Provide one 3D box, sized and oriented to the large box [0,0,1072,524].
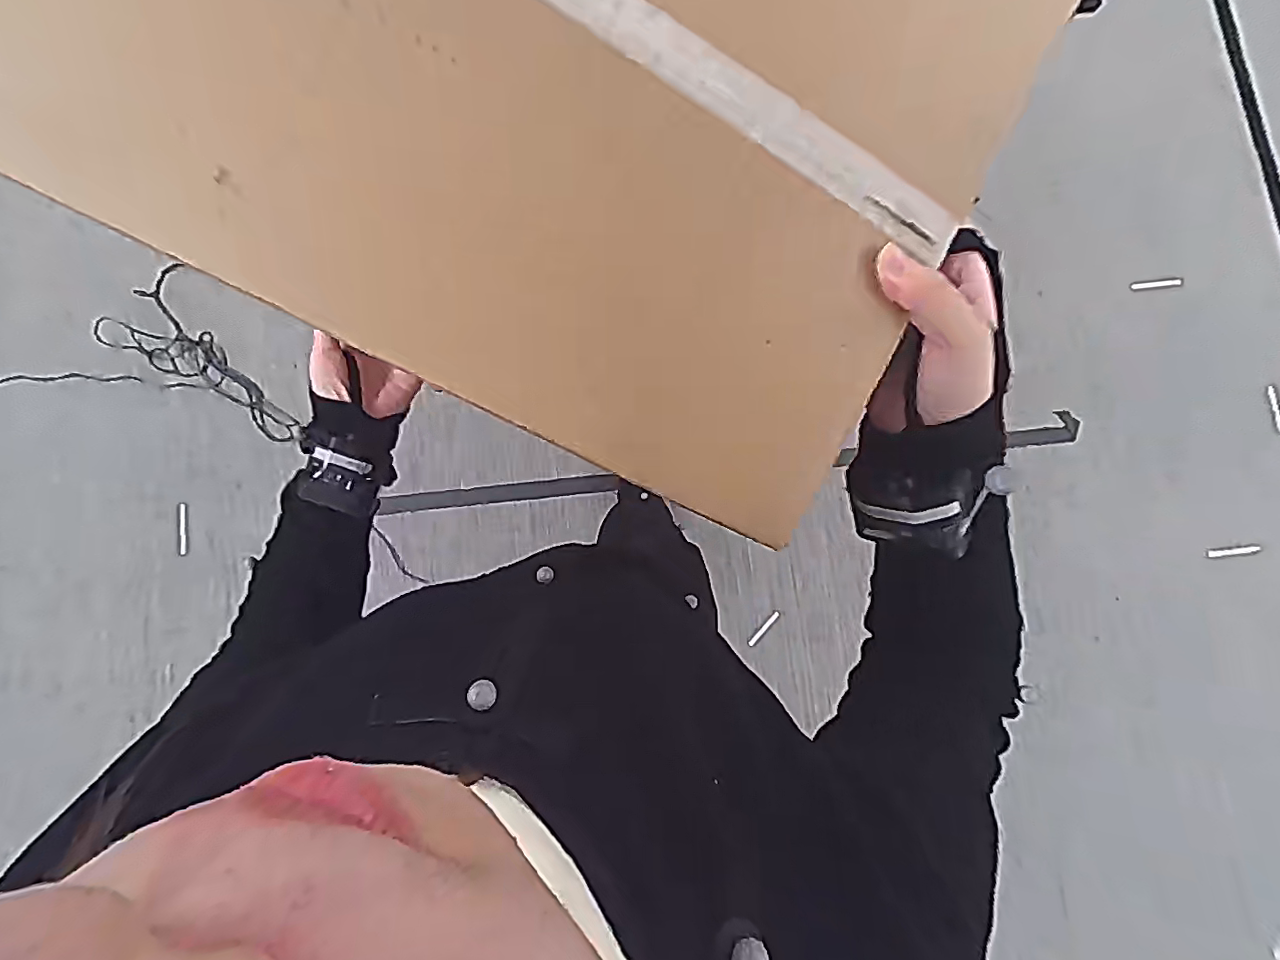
[{"bbox_3d":[-0.060,-0.218,0.343,0.408,0.320,0.320,26,94,-12],"label":"large box"}]
